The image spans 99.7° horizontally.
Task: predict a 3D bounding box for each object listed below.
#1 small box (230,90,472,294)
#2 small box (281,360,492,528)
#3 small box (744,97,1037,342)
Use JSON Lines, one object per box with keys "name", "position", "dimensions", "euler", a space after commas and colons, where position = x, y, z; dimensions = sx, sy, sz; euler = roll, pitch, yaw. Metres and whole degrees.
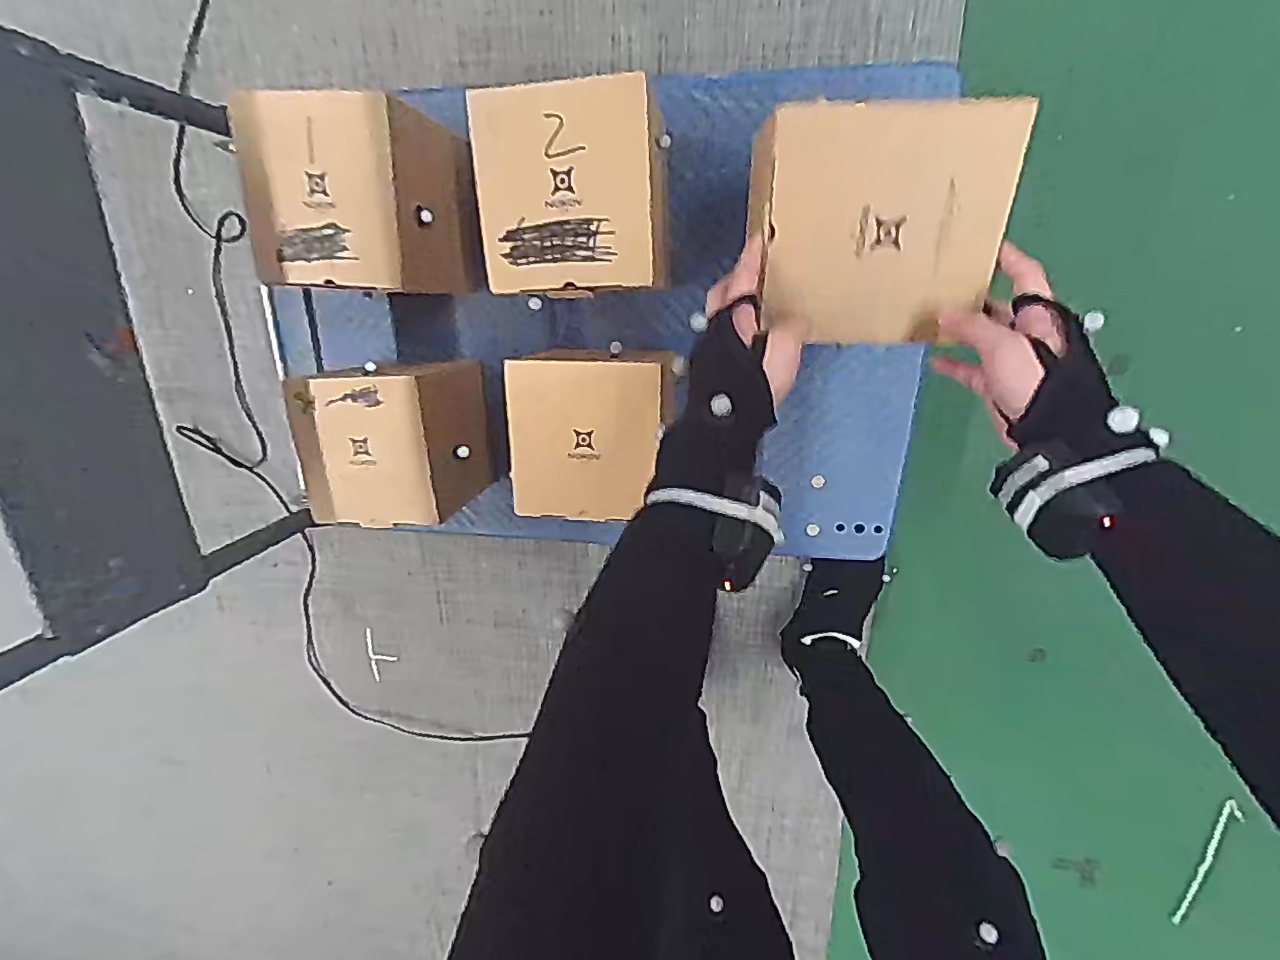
{"name": "small box", "position": [-0.300, -0.304, 0.604], "dimensions": [0.168, 0.176, 0.179], "euler": [5, 108, 7]}
{"name": "small box", "position": [-0.301, -0.053, 0.685], "dimensions": [0.168, 0.176, 0.179], "euler": [1, 108, 8]}
{"name": "small box", "position": [0.189, -0.223, 0.476], "dimensions": [0.179, 0.176, 0.168], "euler": [3, 117, 5]}
